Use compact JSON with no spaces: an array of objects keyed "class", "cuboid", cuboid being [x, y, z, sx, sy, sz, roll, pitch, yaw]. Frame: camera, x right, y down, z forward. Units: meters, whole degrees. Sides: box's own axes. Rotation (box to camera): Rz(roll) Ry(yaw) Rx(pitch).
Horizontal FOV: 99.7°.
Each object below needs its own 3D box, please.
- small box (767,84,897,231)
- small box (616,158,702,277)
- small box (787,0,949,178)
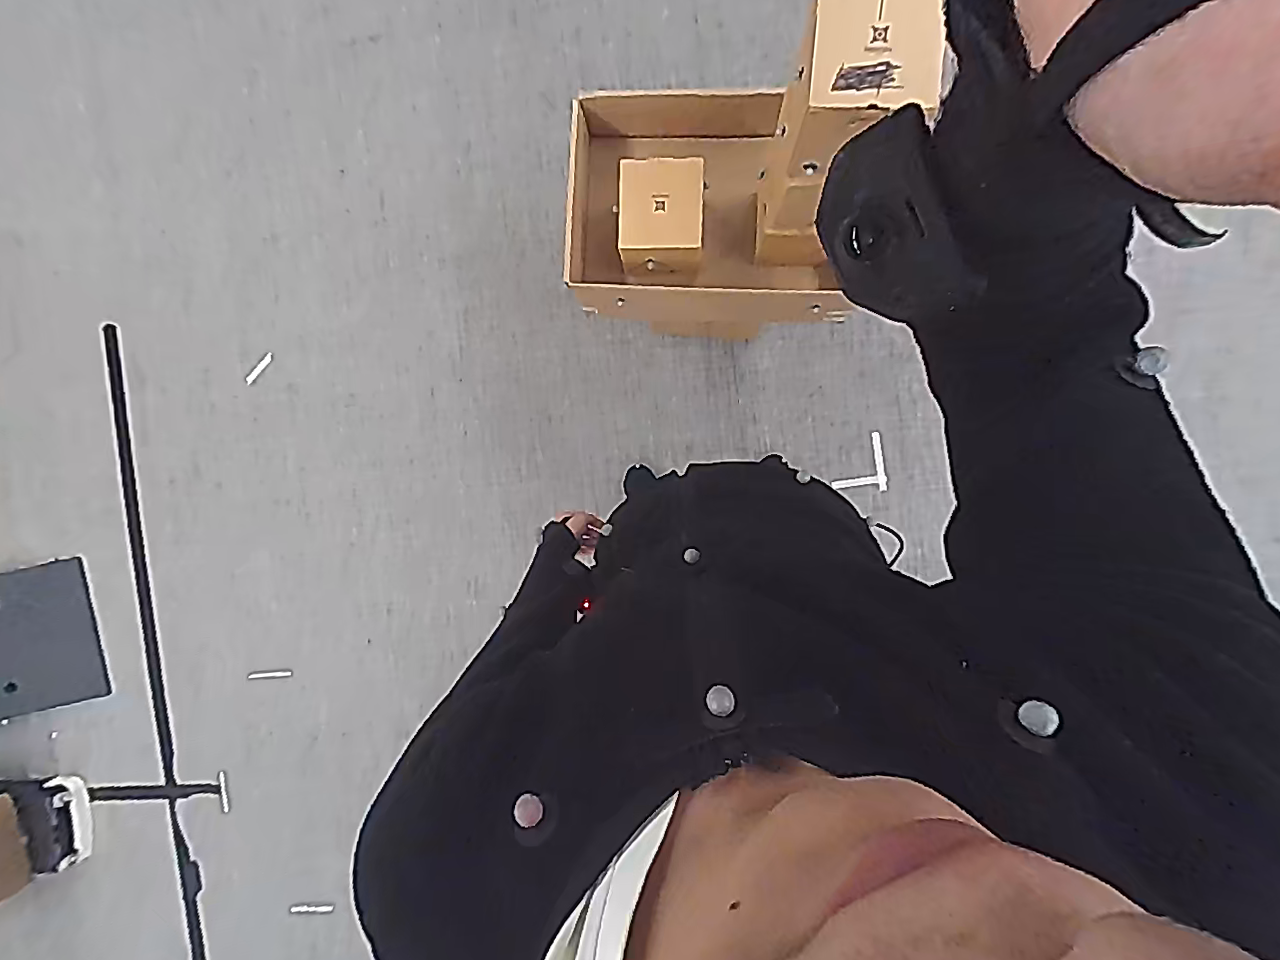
[{"class":"small box","cuboid":[0.325,-0.548,0.934,0.179,0.176,0.168,1,91,4]},{"class":"small box","cuboid":[0.044,-0.535,1.127,0.168,0.176,0.179,1,91,5]},{"class":"small box","cuboid":[0.310,-0.559,0.769,0.168,0.176,0.179,5,91,5]}]
